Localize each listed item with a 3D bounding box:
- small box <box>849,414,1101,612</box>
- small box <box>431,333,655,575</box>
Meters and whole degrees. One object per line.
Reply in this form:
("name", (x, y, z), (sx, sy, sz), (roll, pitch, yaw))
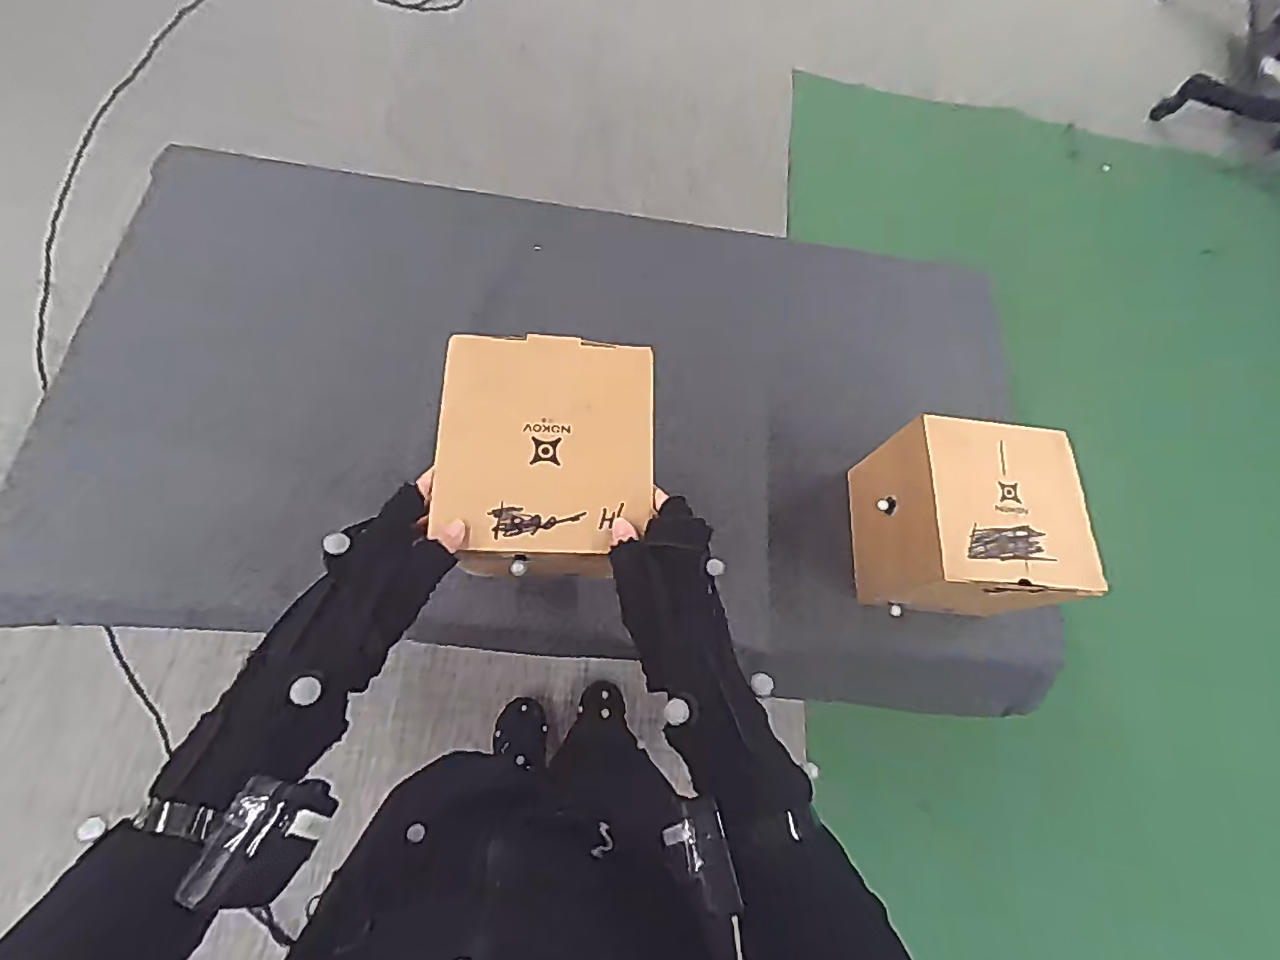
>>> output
("small box", (0.355, 0.048, 0.612), (0.168, 0.176, 0.179), (6, 68, -5))
("small box", (-0.079, -0.011, 0.496), (0.168, 0.176, 0.179), (2, 75, -6))
